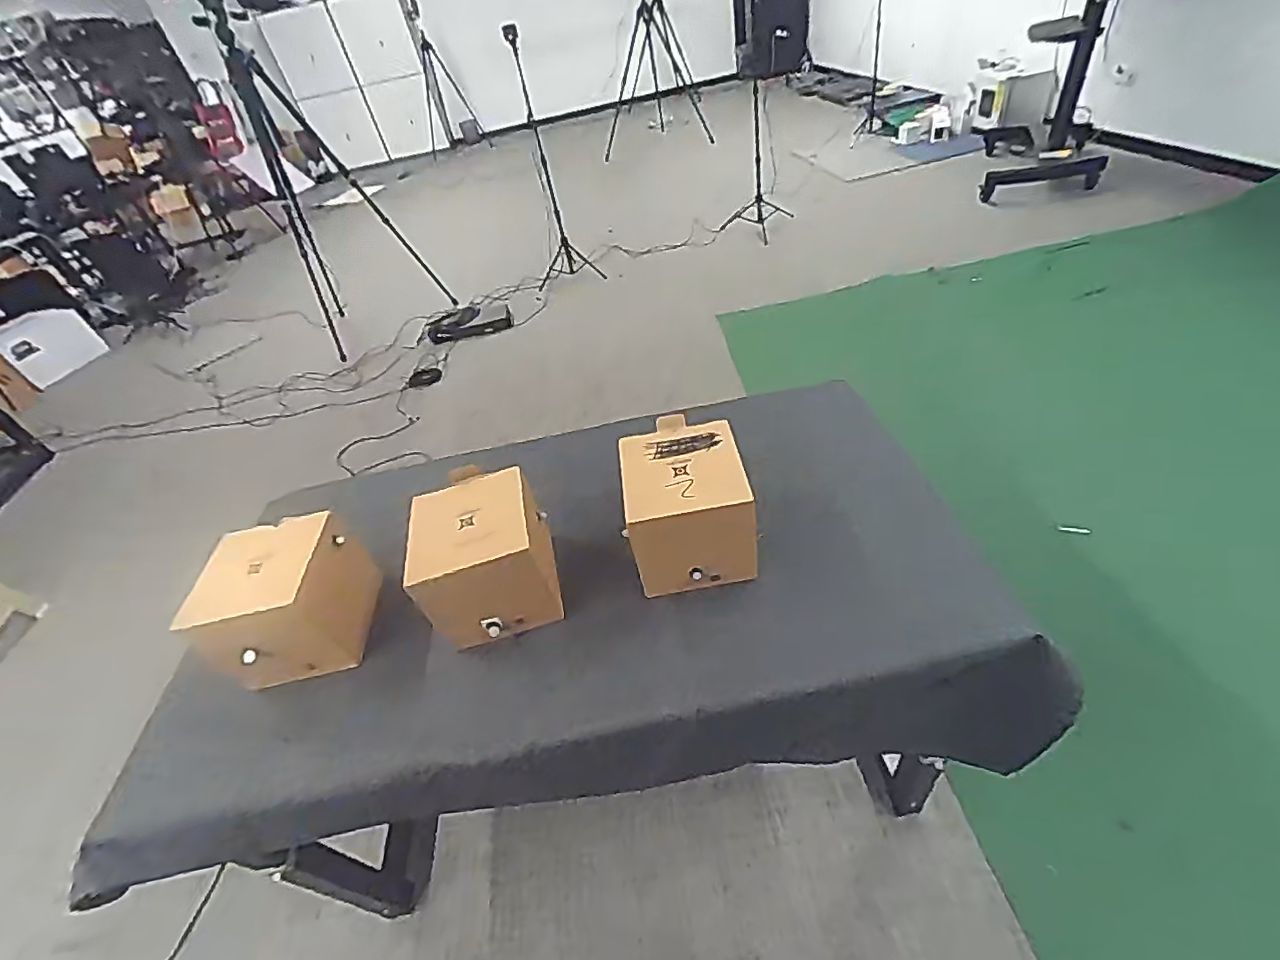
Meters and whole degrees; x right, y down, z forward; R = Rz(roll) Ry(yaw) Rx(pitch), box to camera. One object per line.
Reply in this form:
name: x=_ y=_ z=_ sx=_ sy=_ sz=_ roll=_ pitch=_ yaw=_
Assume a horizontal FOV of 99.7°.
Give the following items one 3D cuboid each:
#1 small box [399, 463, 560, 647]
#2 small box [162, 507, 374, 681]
small box: x=-0.226 y=0.109 z=0.787 sx=0.168 sy=0.176 sz=0.179 roll=-18 pitch=43 yaw=-4
small box: x=-0.519 y=0.173 z=0.791 sx=0.168 sy=0.176 sz=0.179 roll=-13 pitch=41 yaw=0
